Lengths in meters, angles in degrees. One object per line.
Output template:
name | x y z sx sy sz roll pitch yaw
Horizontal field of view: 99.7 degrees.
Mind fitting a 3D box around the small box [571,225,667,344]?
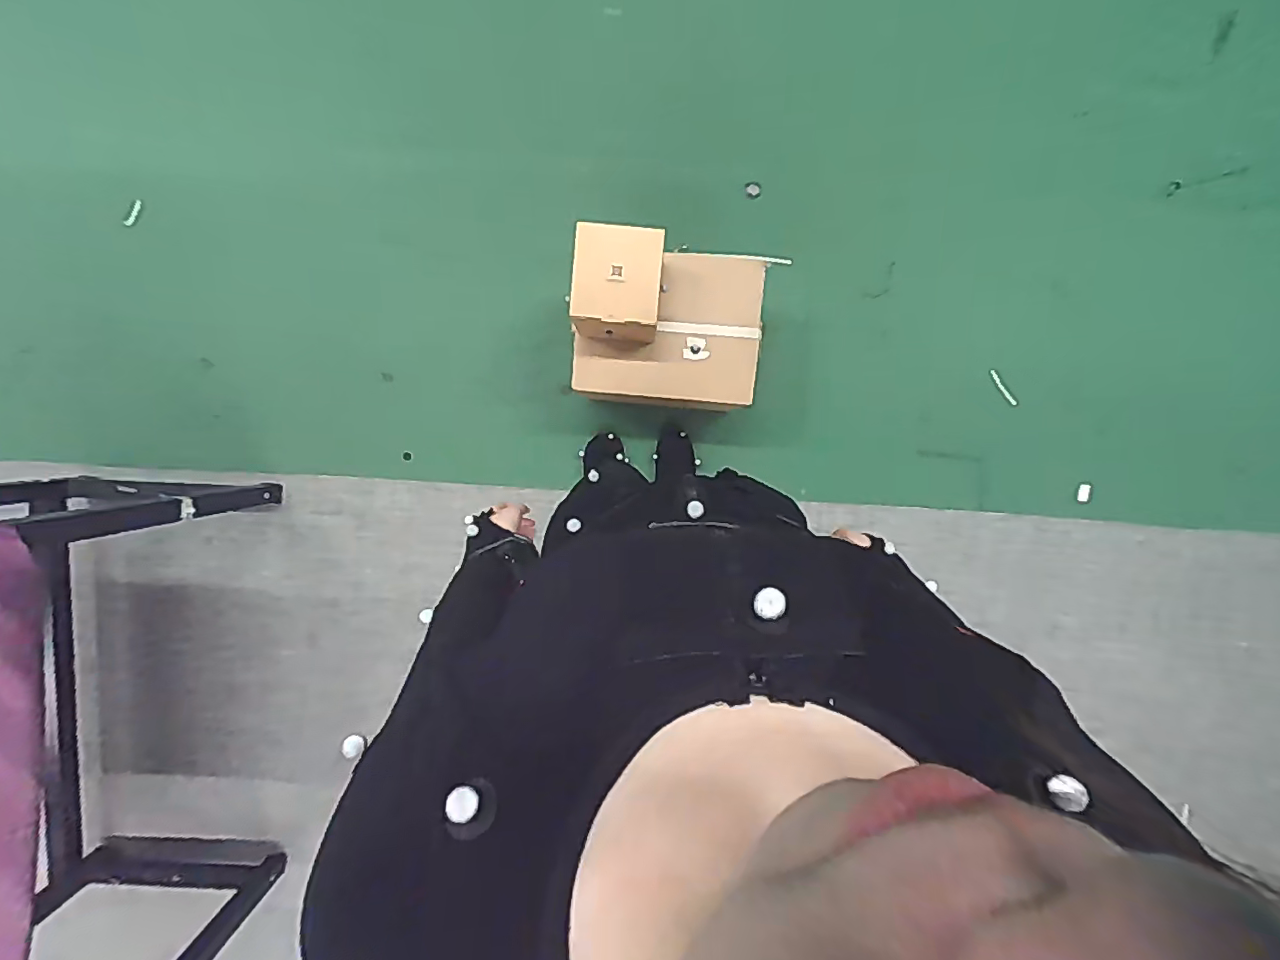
small box | -0.040 -0.378 1.070 0.168 0.176 0.179 5 94 0

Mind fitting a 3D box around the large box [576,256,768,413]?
large box | 0.065 -0.337 1.315 0.408 0.320 0.320 5 95 0
